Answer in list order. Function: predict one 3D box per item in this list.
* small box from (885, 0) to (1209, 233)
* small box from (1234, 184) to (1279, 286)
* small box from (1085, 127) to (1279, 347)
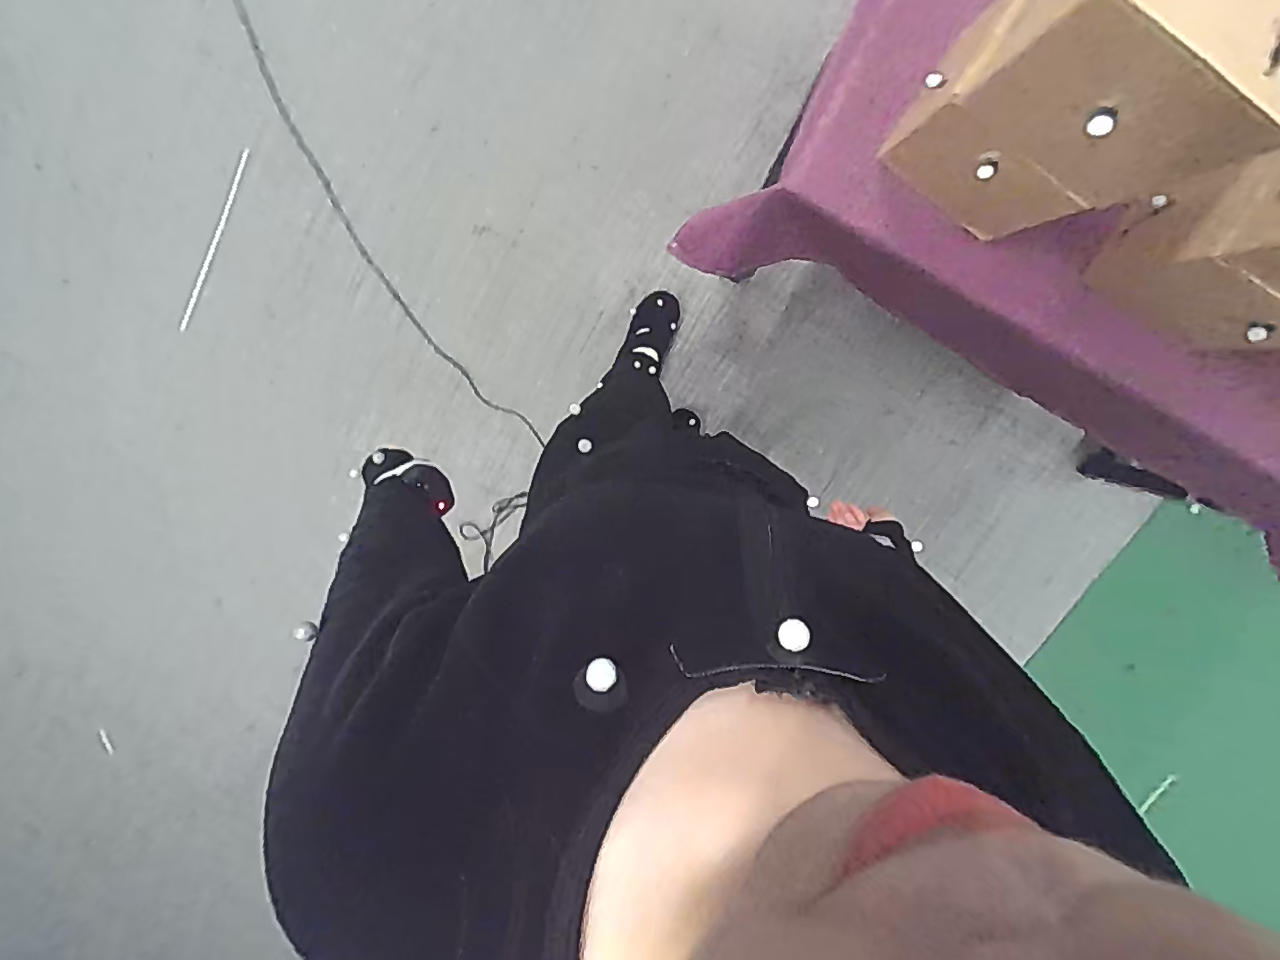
[{"bbox_3d":[0.402,-0.392,0.573,0.179,0.176,0.168,34,101,-8],"label":"small box"},{"bbox_3d":[0.674,-0.231,0.438,0.179,0.176,0.168,27,102,-7],"label":"small box"},{"bbox_3d":[0.670,-0.261,0.600,0.179,0.176,0.168,30,100,-6],"label":"small box"}]
